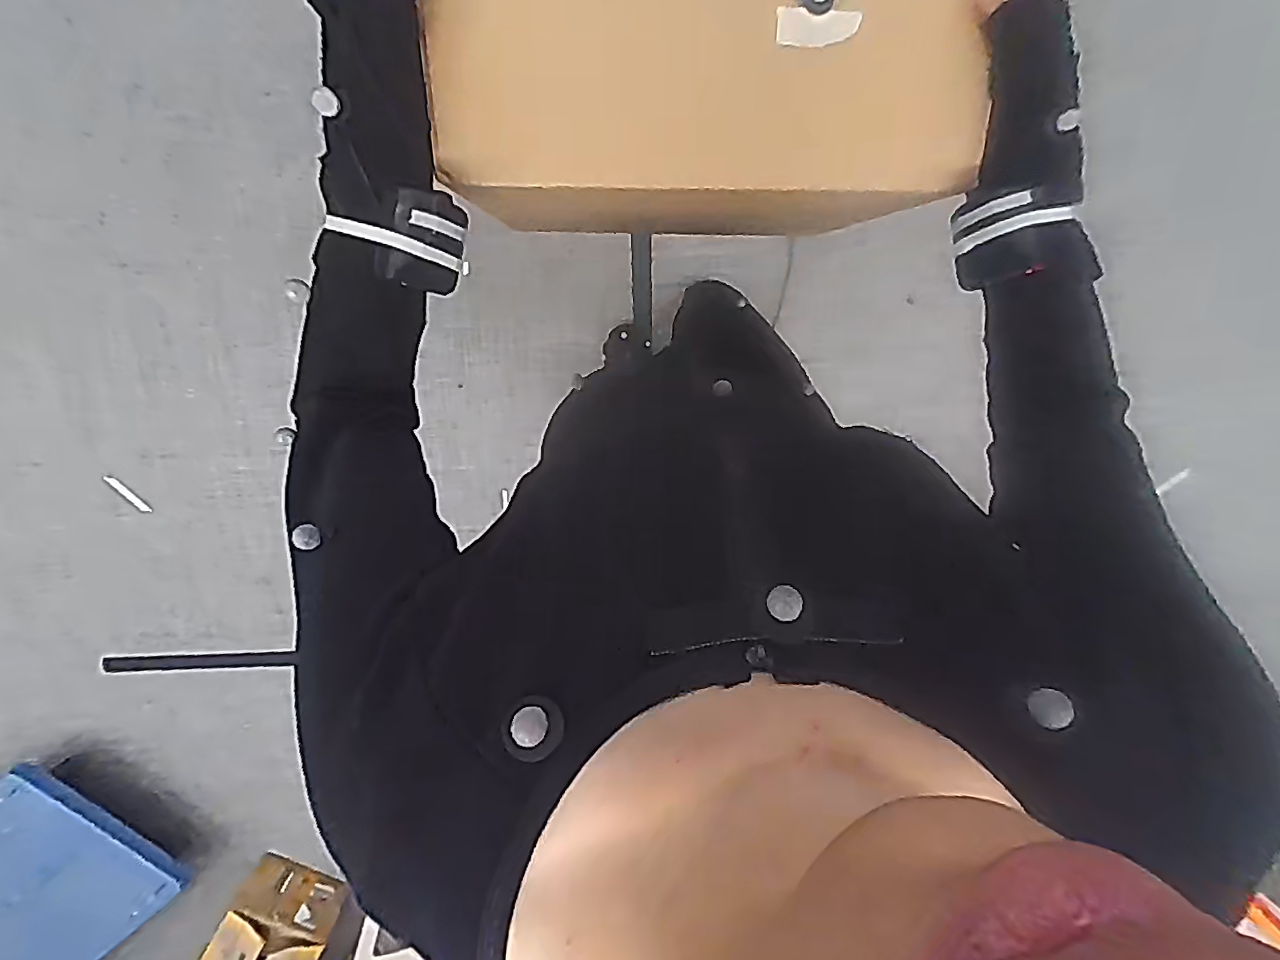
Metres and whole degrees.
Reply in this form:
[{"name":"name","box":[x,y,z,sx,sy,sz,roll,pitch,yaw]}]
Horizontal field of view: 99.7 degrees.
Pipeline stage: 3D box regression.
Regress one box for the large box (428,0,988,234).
[{"name":"large box","box":[0.041,-0.421,0.507,0.408,0.320,0.320,-1,108,-3]}]
